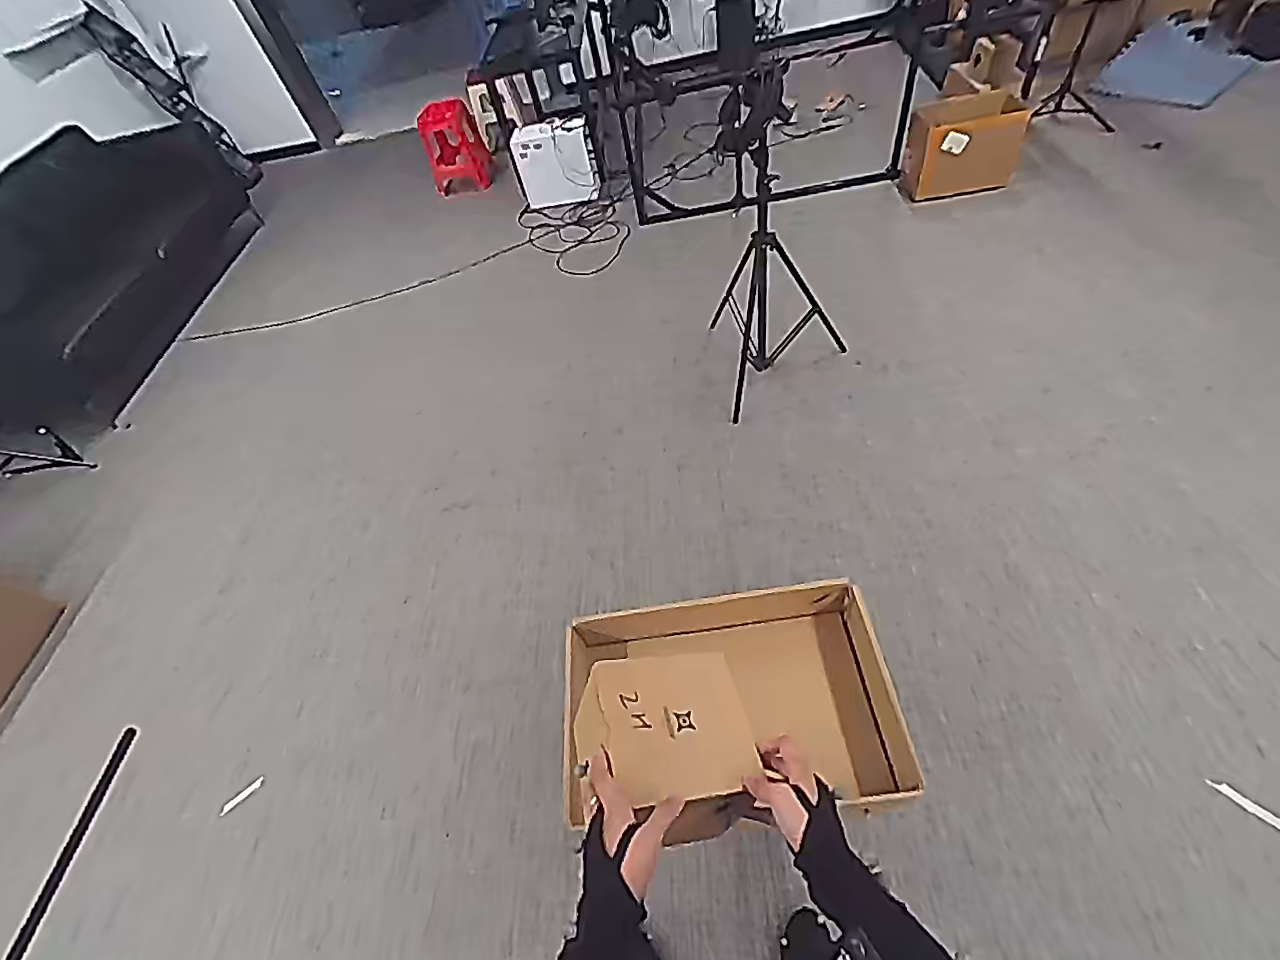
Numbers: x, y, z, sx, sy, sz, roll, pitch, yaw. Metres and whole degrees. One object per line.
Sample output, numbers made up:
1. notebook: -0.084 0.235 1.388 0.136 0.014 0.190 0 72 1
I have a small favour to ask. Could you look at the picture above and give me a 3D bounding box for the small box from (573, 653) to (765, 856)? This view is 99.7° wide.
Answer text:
1. small box: 0.022 0.336 0.668 0.179 0.176 0.168 1 42 -17
